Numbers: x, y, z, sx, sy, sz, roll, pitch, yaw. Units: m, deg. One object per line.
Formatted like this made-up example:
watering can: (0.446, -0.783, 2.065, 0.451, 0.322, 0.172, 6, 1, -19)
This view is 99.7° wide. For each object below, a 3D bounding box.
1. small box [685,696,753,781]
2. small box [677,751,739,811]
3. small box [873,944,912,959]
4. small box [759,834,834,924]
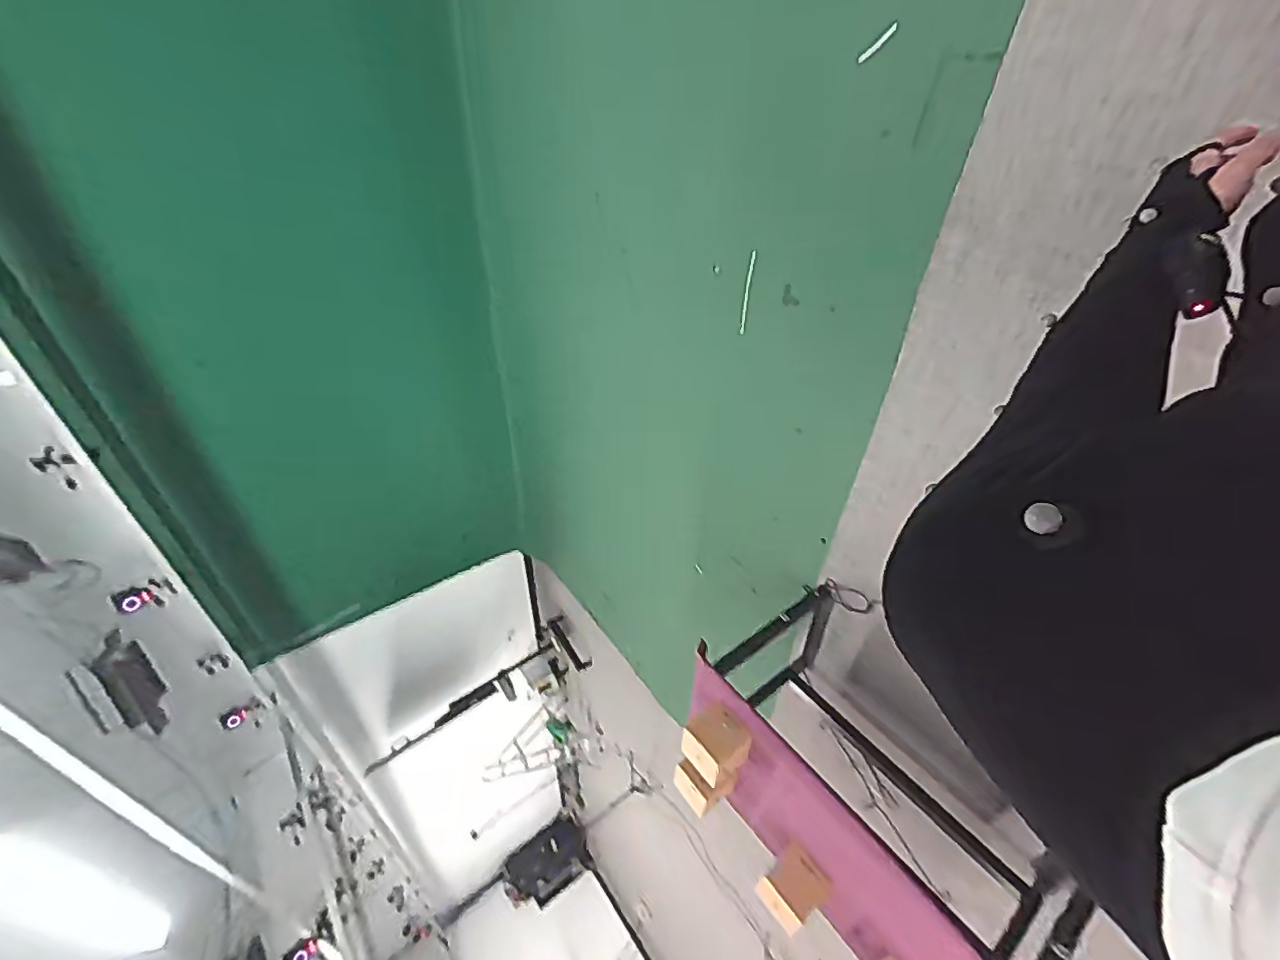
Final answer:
small box: (0.279, 0.910, 1.911, 0.168, 0.176, 0.179, 37, 141, 36)
small box: (0.266, 1.139, 2.112, 0.168, 0.176, 0.179, 39, 142, 35)
small box: (0.773, 1.556, 1.632, 0.168, 0.176, 0.179, 40, 142, 36)
small box: (0.540, 1.371, 1.864, 0.168, 0.176, 0.179, 40, 142, 34)
